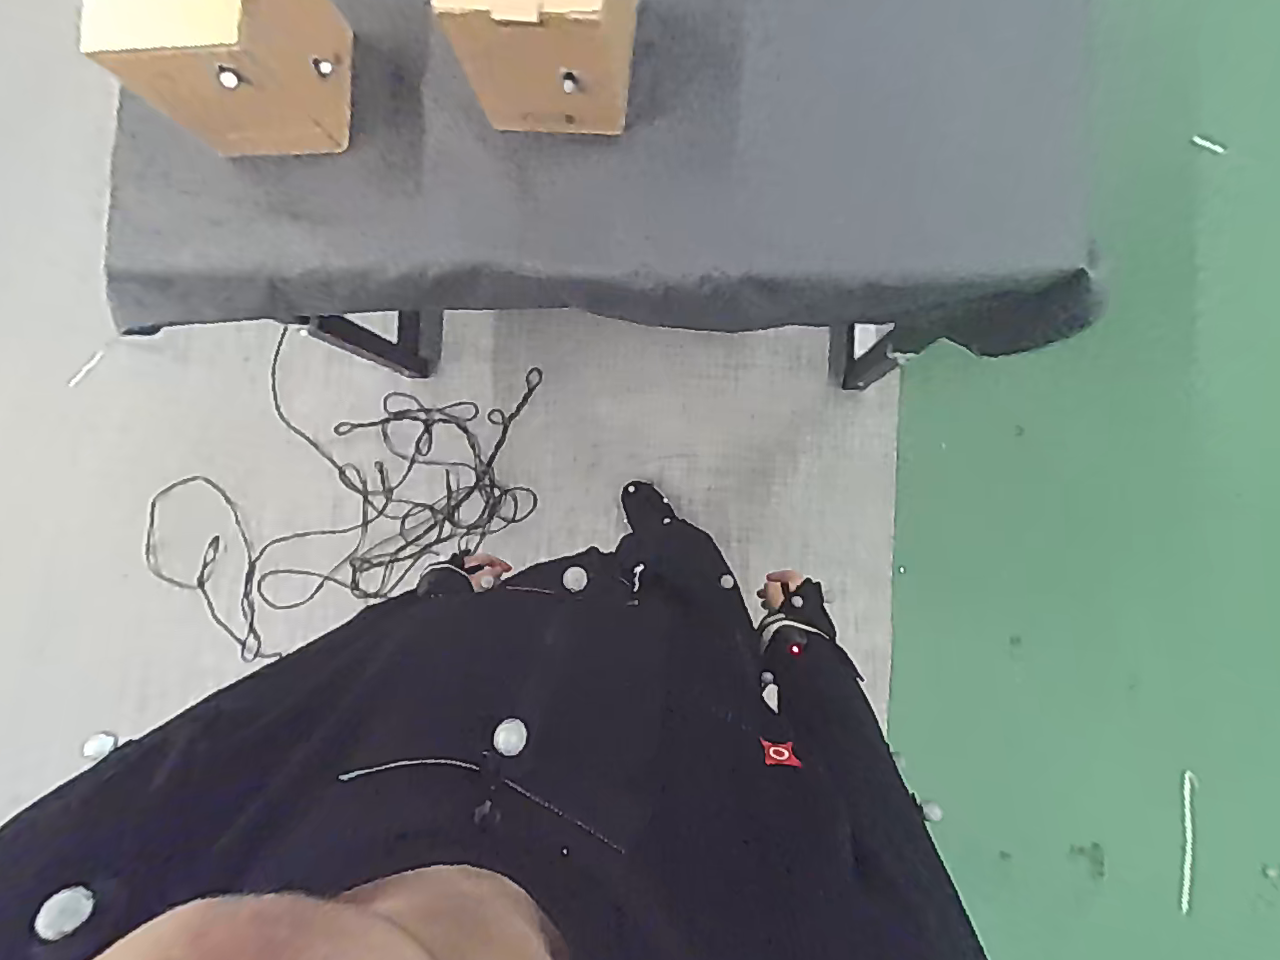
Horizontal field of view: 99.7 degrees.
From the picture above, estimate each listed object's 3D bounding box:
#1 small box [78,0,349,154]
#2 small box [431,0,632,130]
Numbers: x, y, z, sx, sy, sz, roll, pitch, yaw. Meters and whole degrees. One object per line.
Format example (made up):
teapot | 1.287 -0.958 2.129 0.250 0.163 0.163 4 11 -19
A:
small box | -0.468 -0.503 0.617 0.179 0.176 0.168 0 88 5
small box | -0.102 -0.516 0.585 0.168 0.176 0.179 5 87 4
